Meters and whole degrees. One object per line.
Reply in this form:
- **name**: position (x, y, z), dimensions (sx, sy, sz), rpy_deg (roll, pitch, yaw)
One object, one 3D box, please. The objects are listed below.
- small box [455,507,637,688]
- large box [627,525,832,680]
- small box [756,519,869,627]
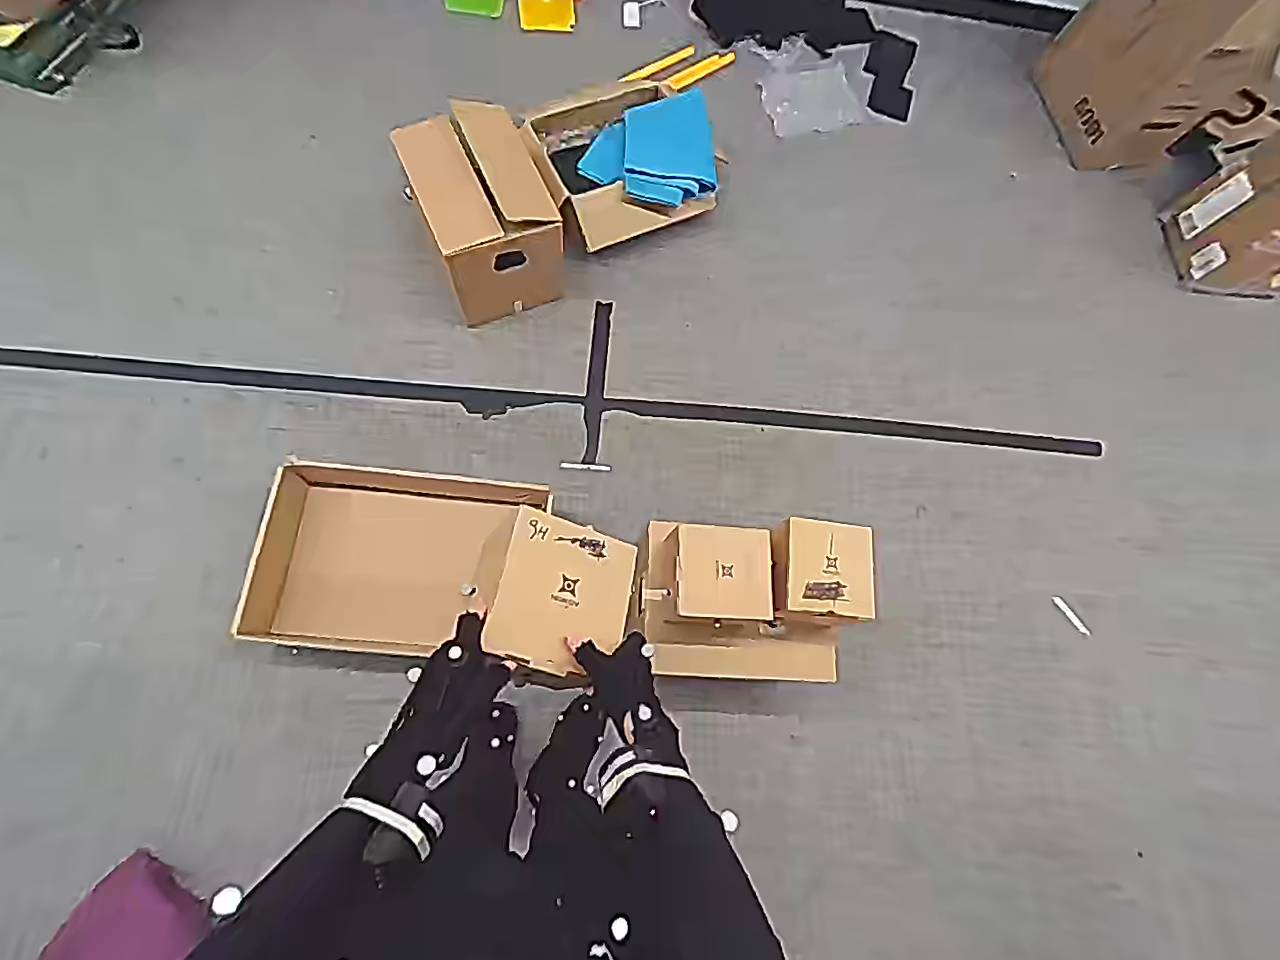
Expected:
- **small box**: position (-0.126, 0.164, 0.703), dimensions (0.168, 0.176, 0.179), rpy_deg (23, 59, -21)
- **large box**: position (0.185, 0.301, 1.280), dimensions (0.408, 0.320, 0.320), rpy_deg (4, 72, -7)
- **small box**: position (0.337, 0.192, 1.077), dimensions (0.168, 0.176, 0.179), rpy_deg (8, 70, -4)
